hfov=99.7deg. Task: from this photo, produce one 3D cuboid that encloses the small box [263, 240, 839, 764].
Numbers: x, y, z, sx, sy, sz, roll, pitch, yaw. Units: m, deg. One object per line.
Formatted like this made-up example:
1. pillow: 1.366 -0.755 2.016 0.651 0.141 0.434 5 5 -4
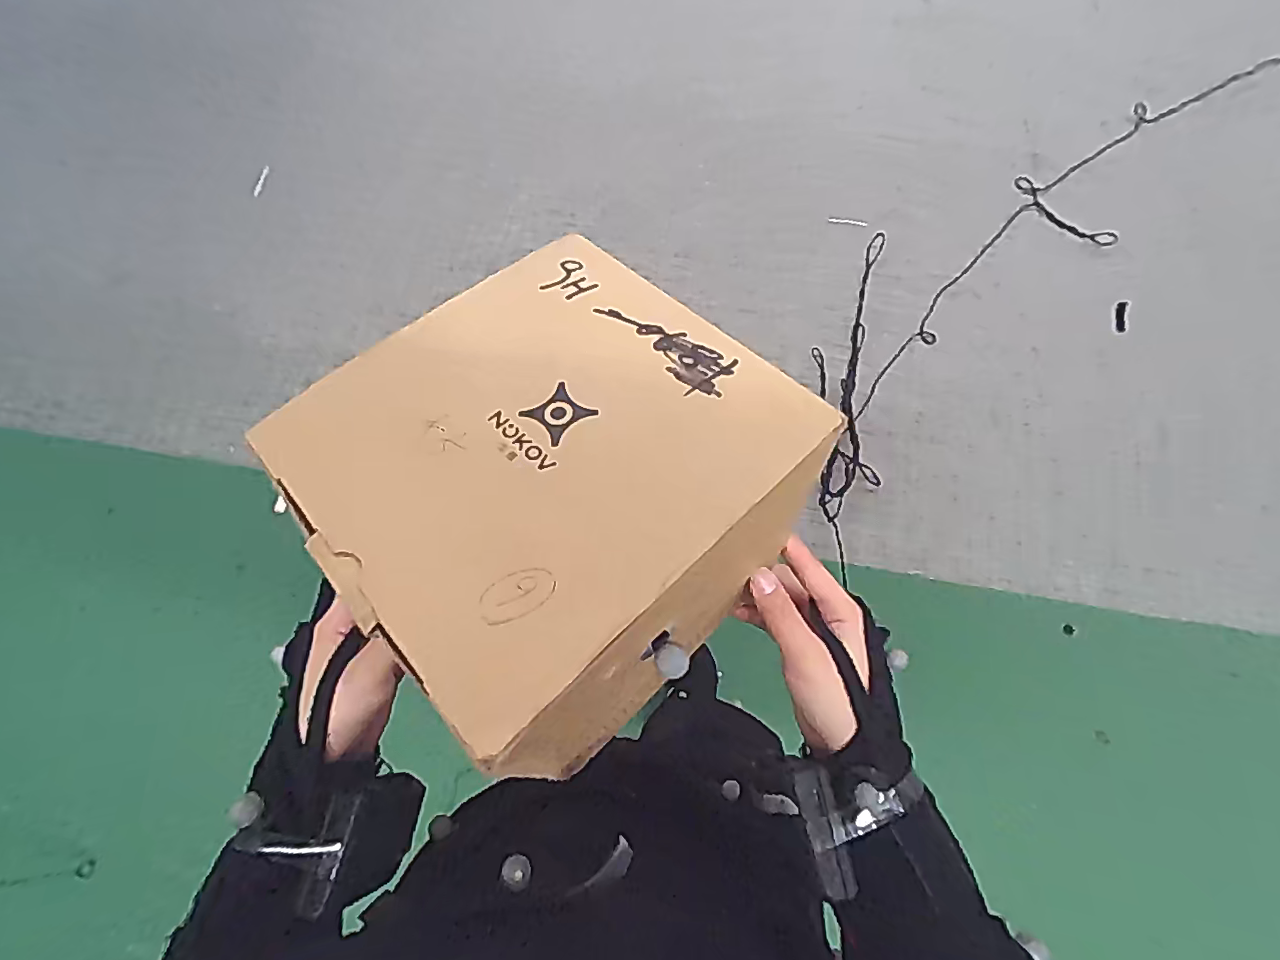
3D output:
1. small box: -0.033 0.022 0.282 0.179 0.176 0.168 -41 66 -18
